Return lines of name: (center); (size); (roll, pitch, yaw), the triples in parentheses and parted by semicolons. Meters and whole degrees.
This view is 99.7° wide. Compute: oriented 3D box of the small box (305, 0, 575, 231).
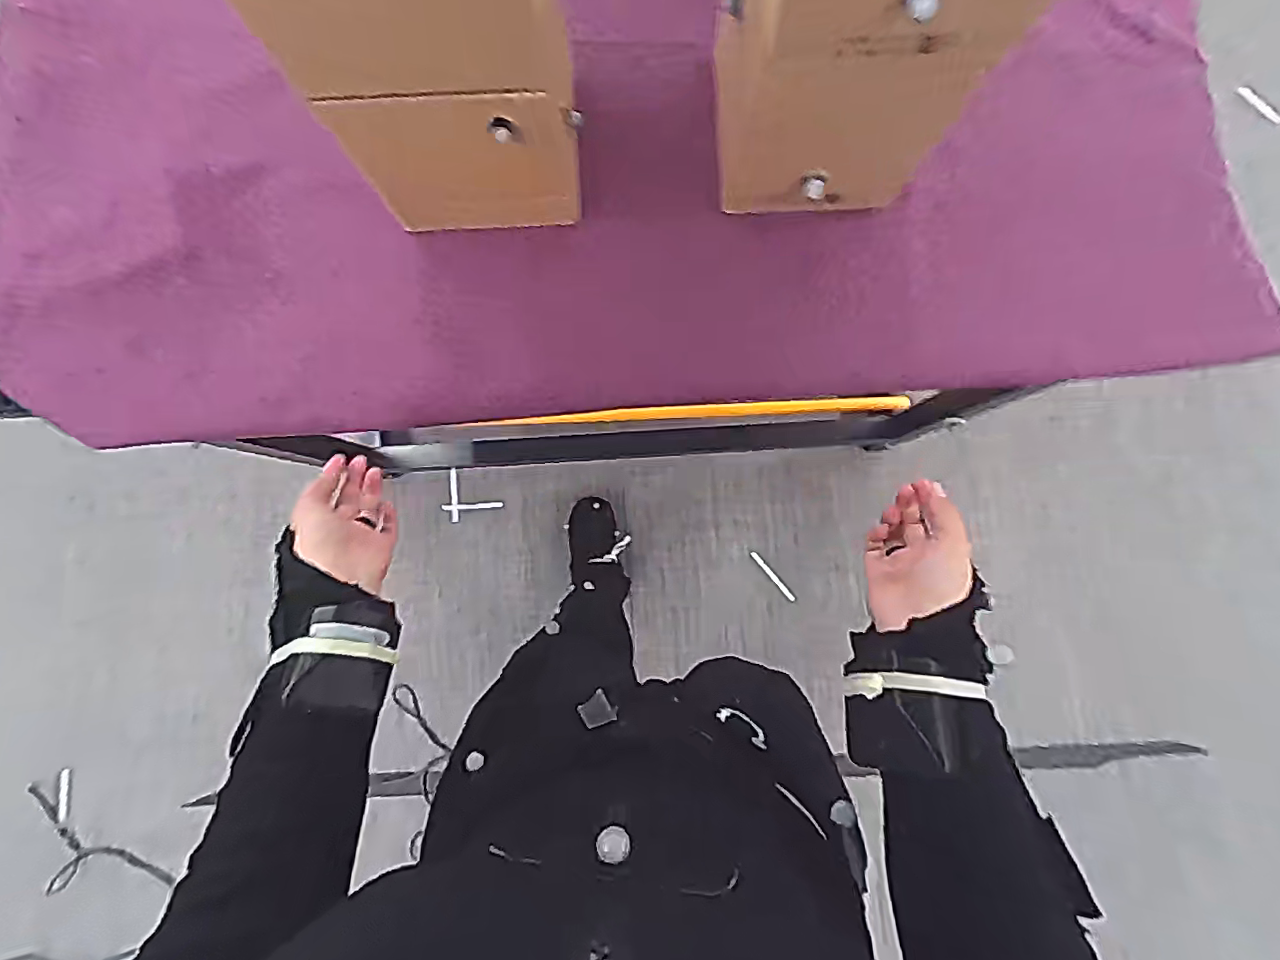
small box: (-0.156, -0.340, 0.474); (0.179, 0.176, 0.168); (-3, 84, -1)

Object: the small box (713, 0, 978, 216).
small box: (0.158, -0.362, 0.474); (0.168, 0.176, 0.179); (-1, 84, 0)
